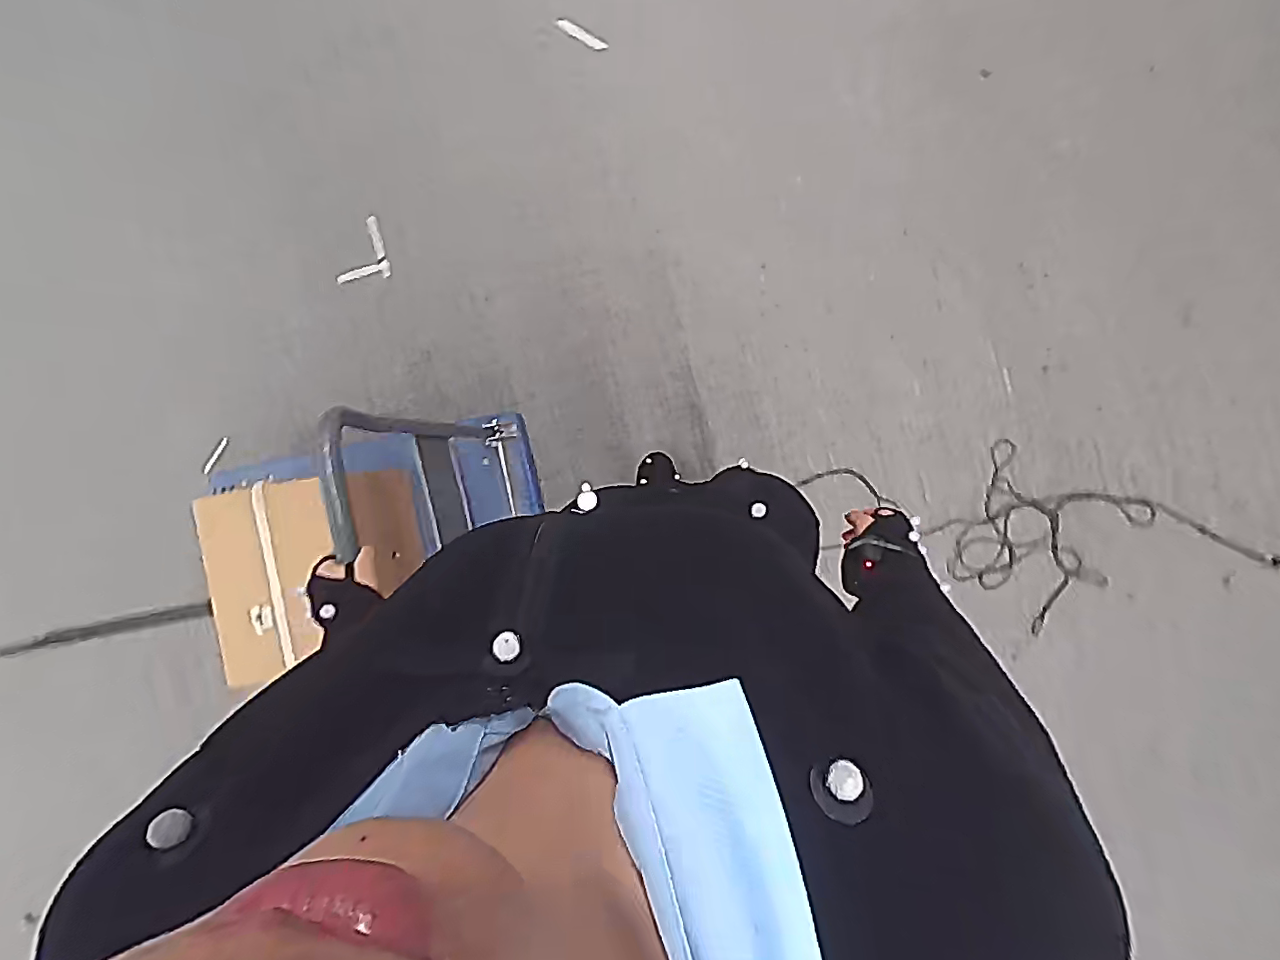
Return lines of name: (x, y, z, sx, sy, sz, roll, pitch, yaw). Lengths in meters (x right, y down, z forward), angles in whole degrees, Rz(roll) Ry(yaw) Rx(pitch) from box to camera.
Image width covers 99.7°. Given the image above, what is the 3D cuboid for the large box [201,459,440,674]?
large box: (-0.708, 0.177, 1.255, 0.320, 0.320, 0.408, -9, 94, 6)
